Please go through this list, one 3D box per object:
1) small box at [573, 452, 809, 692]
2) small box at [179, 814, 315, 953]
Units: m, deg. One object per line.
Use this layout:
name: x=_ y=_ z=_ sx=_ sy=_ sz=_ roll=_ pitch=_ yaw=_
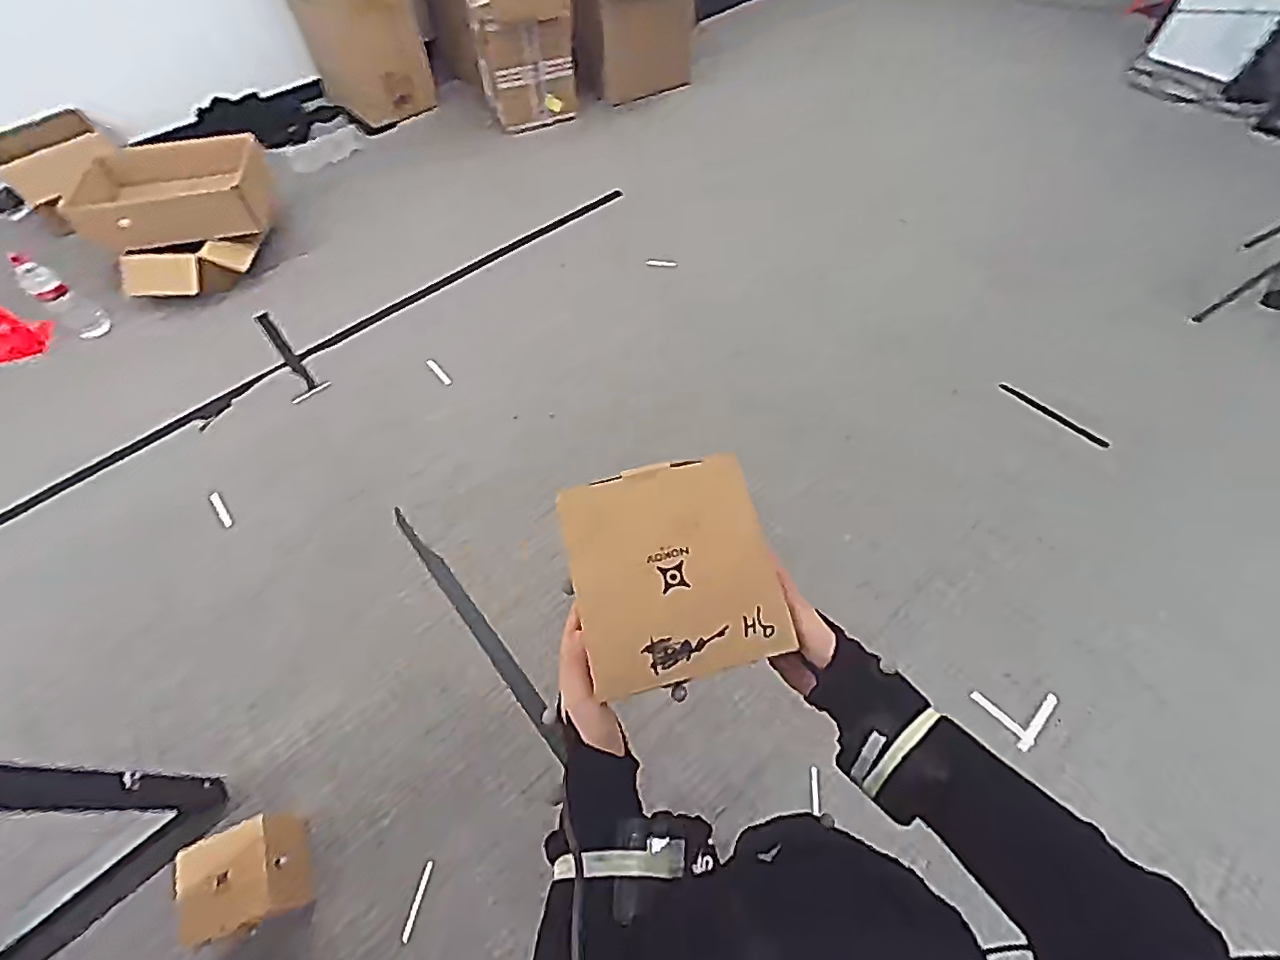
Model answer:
small box: x=0.033 y=0.096 z=0.518 sx=0.168 sy=0.176 sz=0.179 roll=-11 pitch=70 yaw=-6
small box: x=-0.809 y=0.825 z=1.124 sx=0.168 sy=0.176 sz=0.179 roll=-22 pitch=62 yaw=-12
